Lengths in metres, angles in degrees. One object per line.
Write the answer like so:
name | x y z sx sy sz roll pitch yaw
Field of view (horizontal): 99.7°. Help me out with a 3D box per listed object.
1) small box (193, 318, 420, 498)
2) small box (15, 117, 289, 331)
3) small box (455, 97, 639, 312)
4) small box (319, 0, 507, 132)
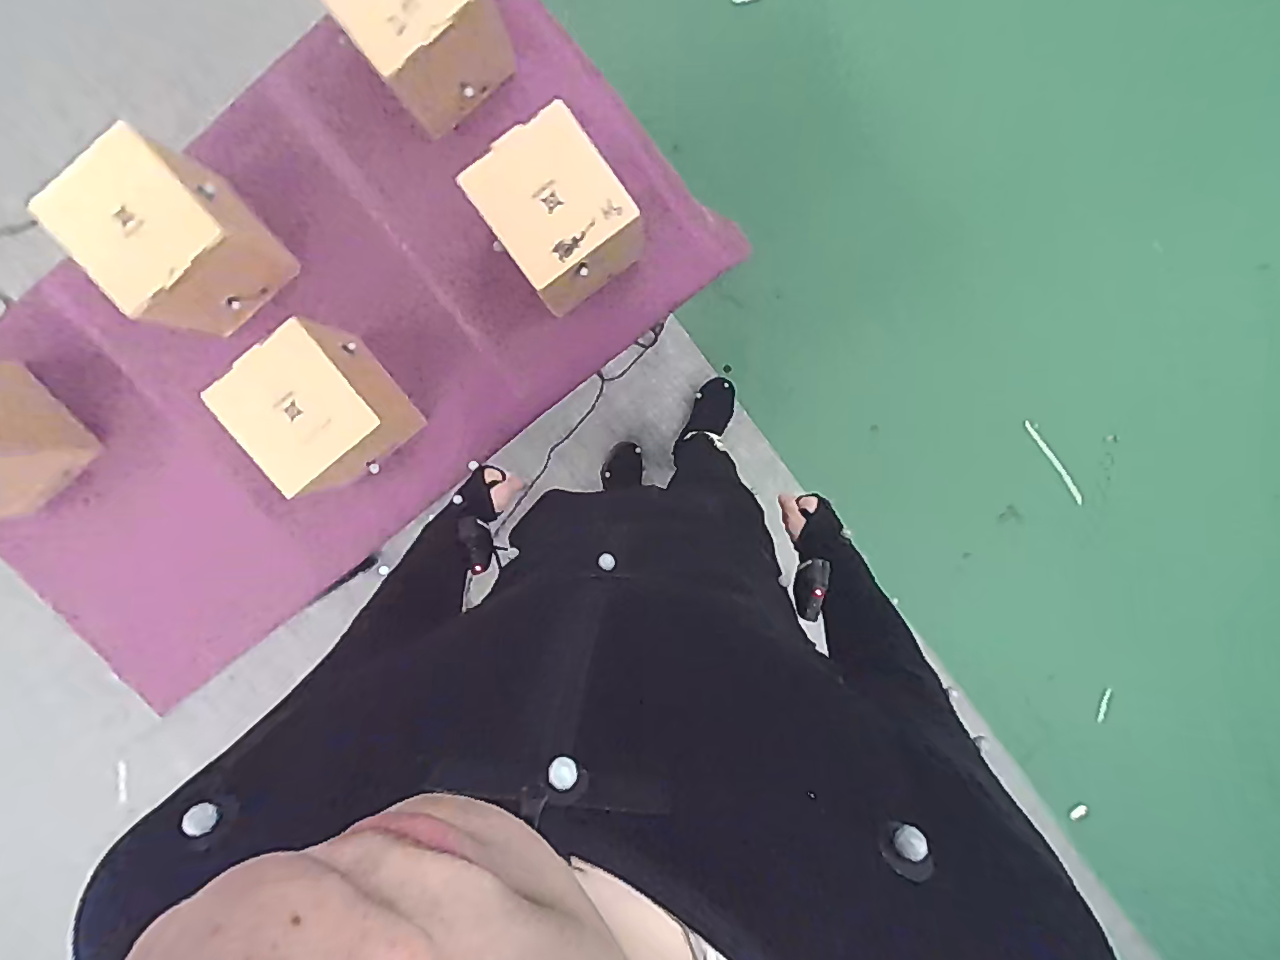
small box | -0.454 -0.097 0.768 0.168 0.176 0.179 -38 96 3
small box | -0.640 -0.327 0.735 0.168 0.176 0.179 -41 98 2
small box | -0.116 -0.362 0.750 0.168 0.176 0.179 -36 94 3
small box | -0.305 -0.615 0.712 0.168 0.176 0.179 -39 97 5
